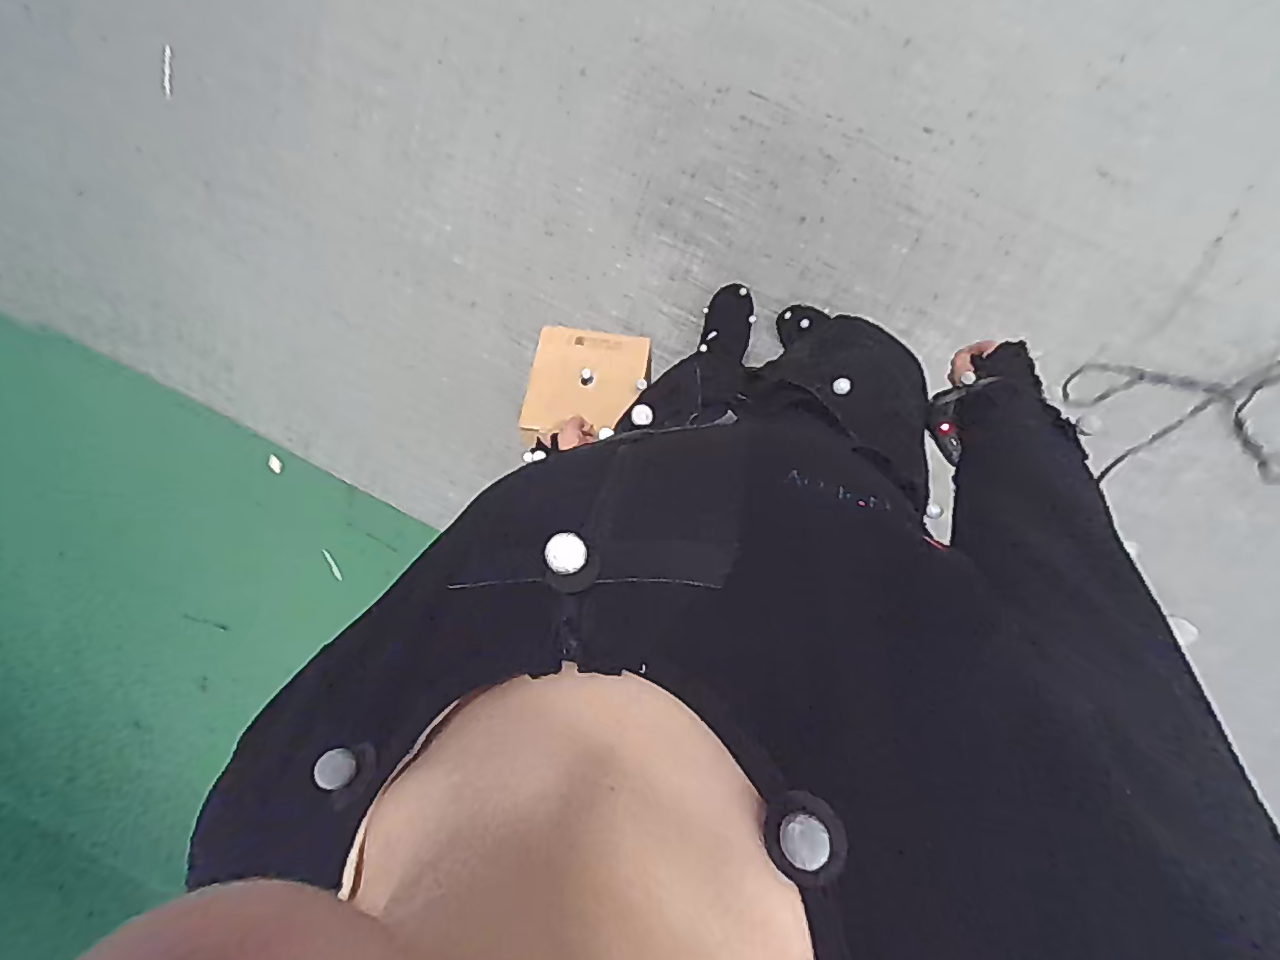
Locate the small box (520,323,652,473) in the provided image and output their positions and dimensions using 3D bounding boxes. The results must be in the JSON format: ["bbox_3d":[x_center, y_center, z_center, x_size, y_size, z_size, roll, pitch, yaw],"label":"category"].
[{"bbox_3d":[-0.077,-0.125,0.851,0.168,0.179,0.176,10,75,2],"label":"small box"}]
